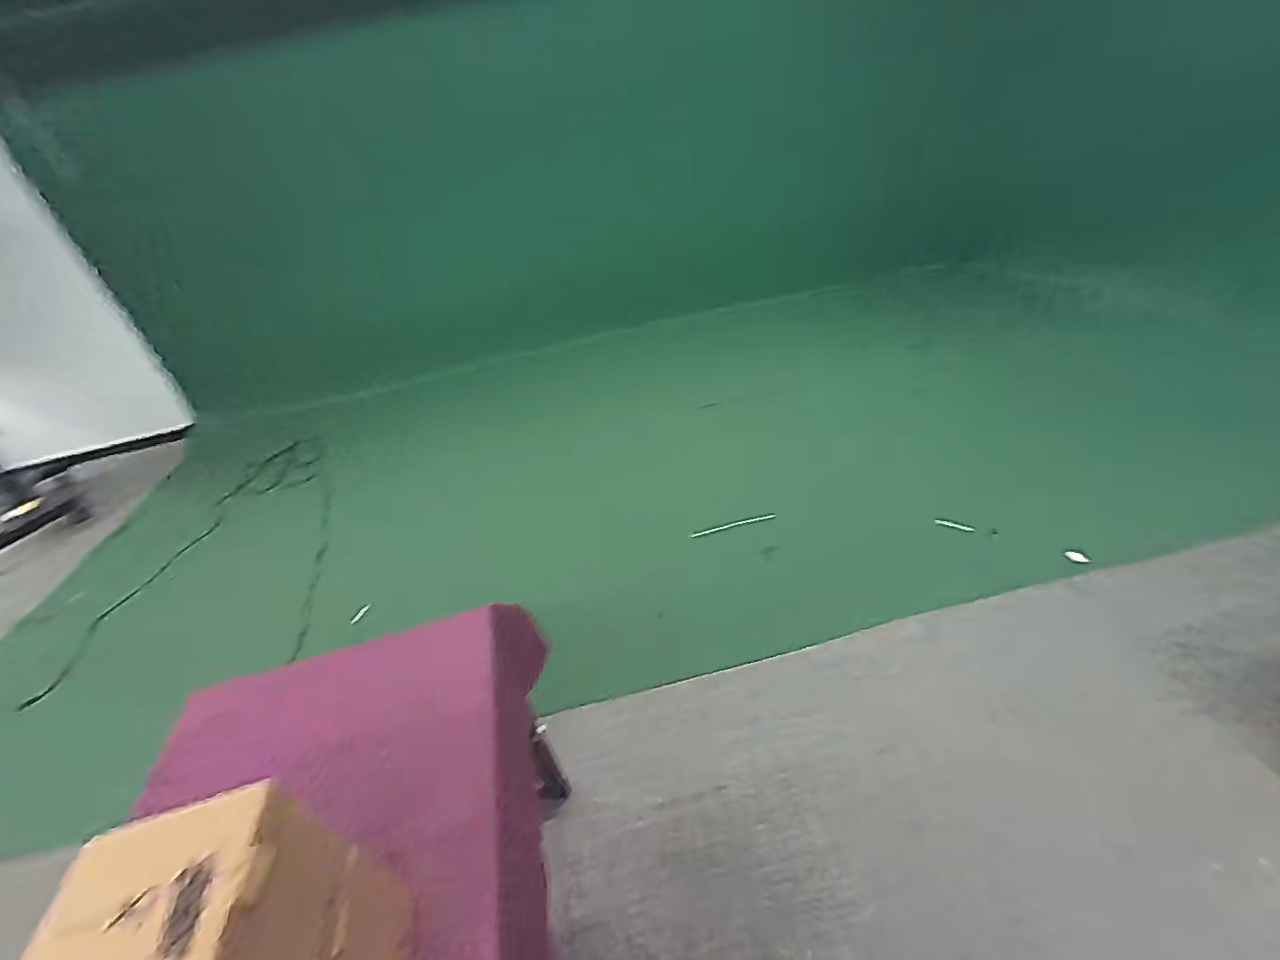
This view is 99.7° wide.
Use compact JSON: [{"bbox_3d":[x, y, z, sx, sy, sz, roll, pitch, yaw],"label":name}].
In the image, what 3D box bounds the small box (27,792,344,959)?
[{"bbox_3d":[-0.411,0.436,0.503,0.179,0.176,0.168,-18,35,-5],"label":"small box"}]
